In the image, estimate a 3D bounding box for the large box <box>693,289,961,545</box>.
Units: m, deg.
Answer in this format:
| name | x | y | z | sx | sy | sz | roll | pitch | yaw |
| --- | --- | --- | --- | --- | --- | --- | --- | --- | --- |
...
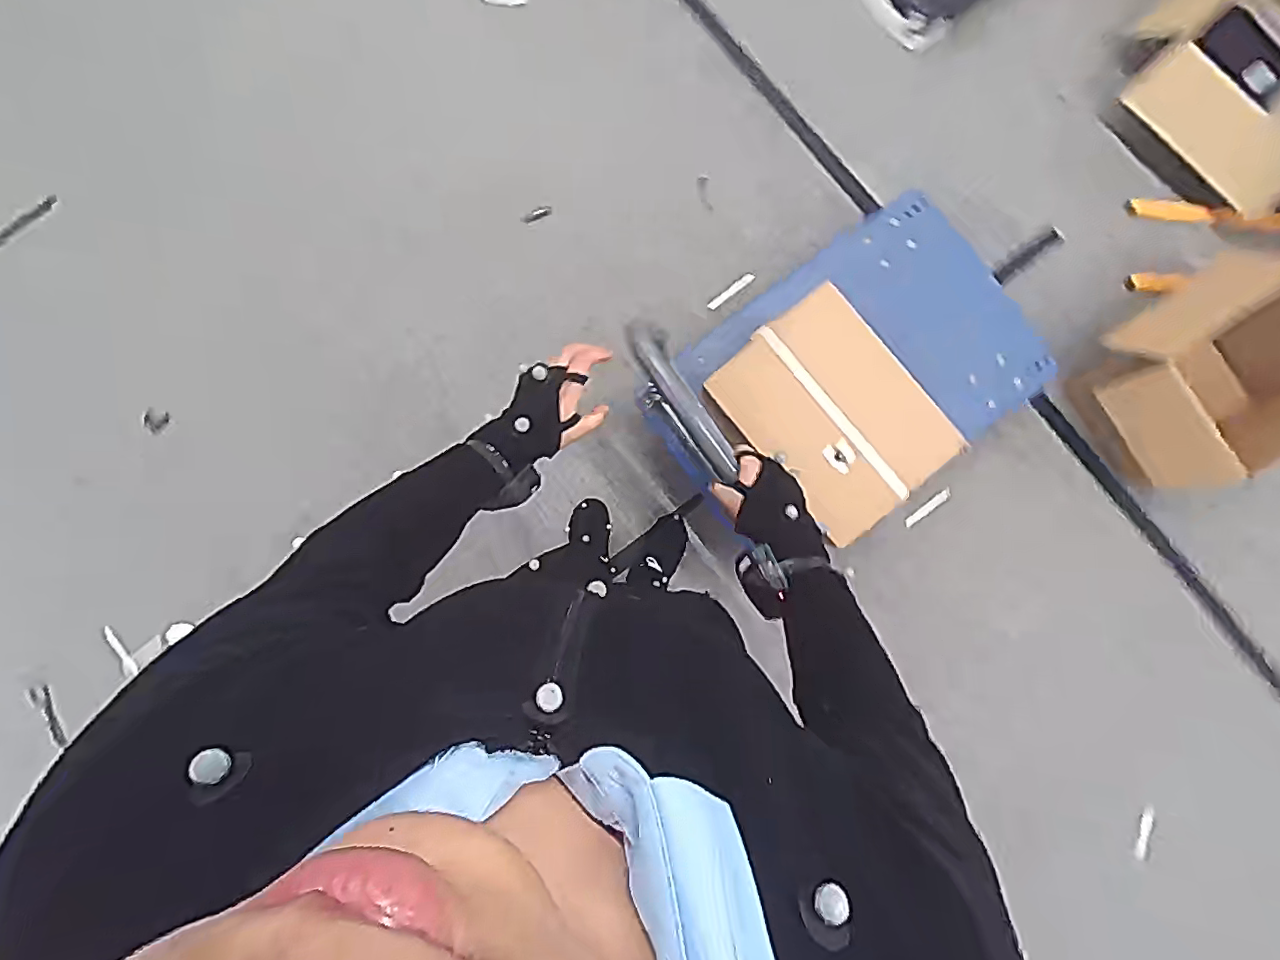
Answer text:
| name | x | y | z | sx | sy | sz | roll | pitch | yaw |
| --- | --- | --- | --- | --- | --- | --- | --- | --- | --- |
| large box | 0.366 | -0.118 | 1.172 | 0.320 | 0.320 | 0.408 | -39 | 88 | 0 |
